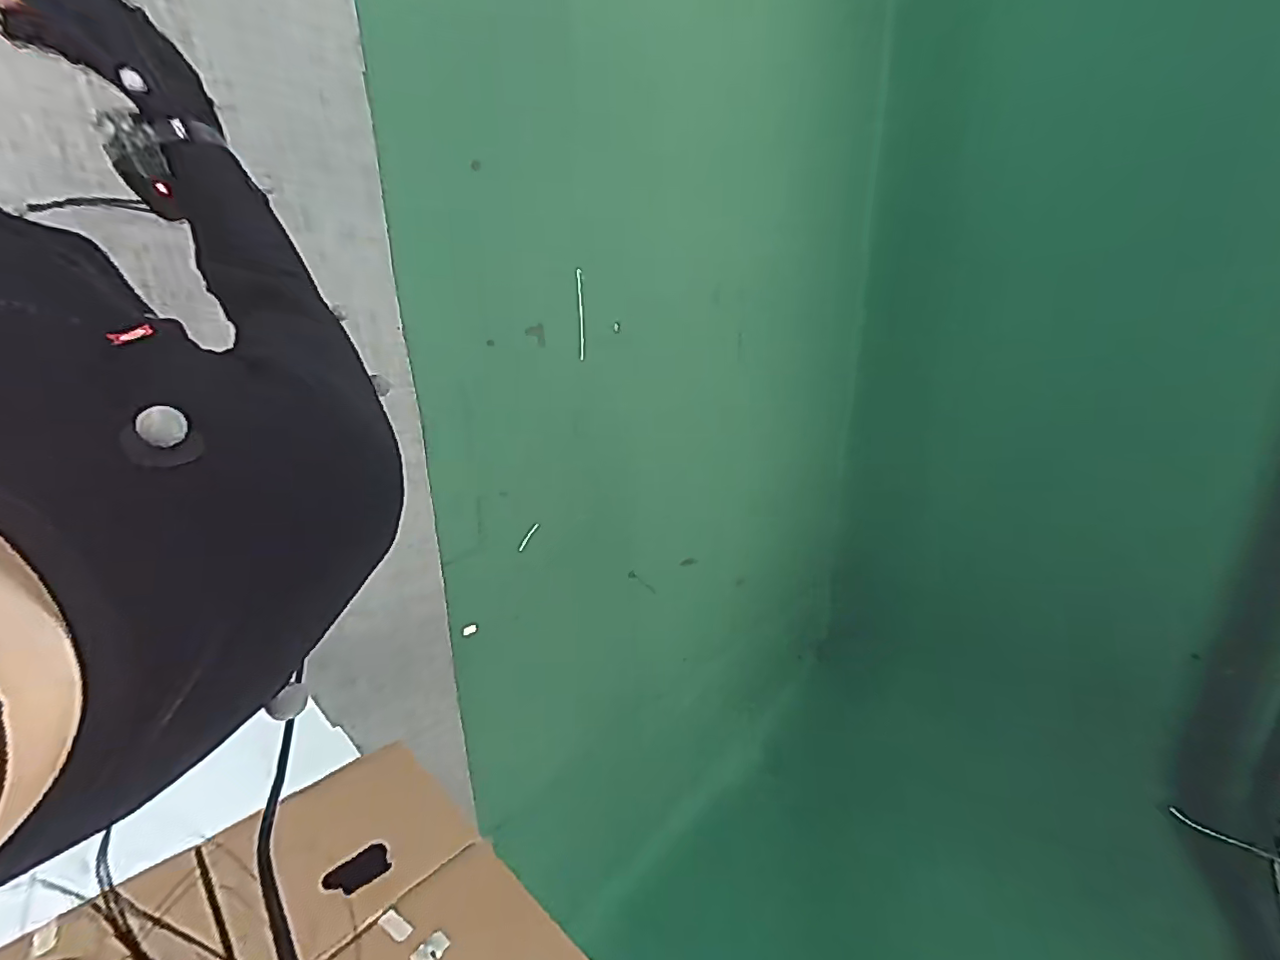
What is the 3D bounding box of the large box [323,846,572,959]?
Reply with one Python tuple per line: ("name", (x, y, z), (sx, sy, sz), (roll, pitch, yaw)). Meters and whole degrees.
("large box", (-0.254, 0.815, 0.707), (0.320, 0.320, 0.408), (-19, 116, -46))
